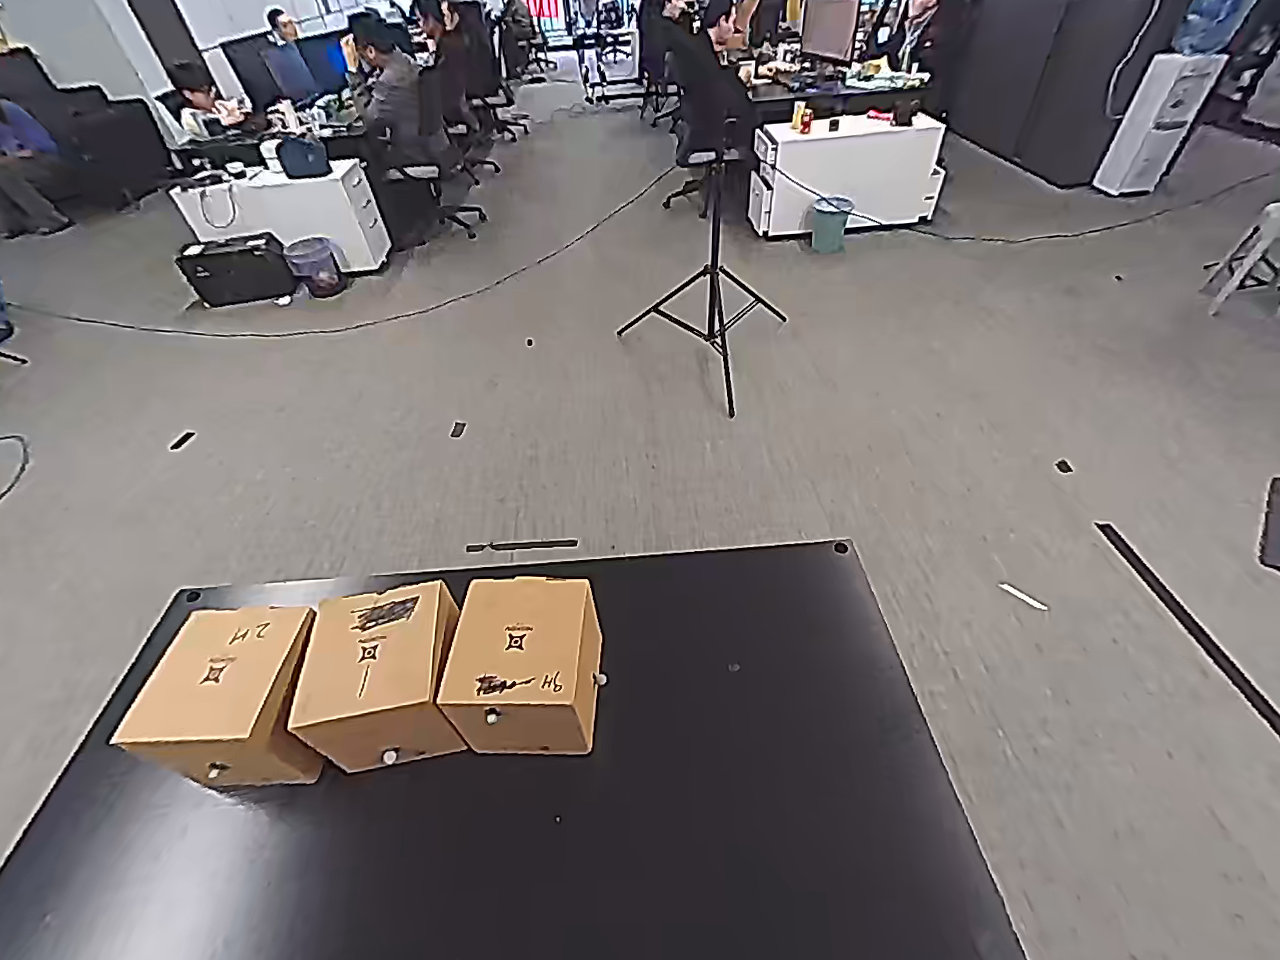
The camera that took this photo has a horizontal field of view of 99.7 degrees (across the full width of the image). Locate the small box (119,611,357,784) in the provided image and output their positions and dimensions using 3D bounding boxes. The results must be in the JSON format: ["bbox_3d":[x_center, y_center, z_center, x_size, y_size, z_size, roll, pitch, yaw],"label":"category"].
[{"bbox_3d":[-0.521,0.301,0.738,0.168,0.176,0.179,-3,44,2],"label":"small box"}]
